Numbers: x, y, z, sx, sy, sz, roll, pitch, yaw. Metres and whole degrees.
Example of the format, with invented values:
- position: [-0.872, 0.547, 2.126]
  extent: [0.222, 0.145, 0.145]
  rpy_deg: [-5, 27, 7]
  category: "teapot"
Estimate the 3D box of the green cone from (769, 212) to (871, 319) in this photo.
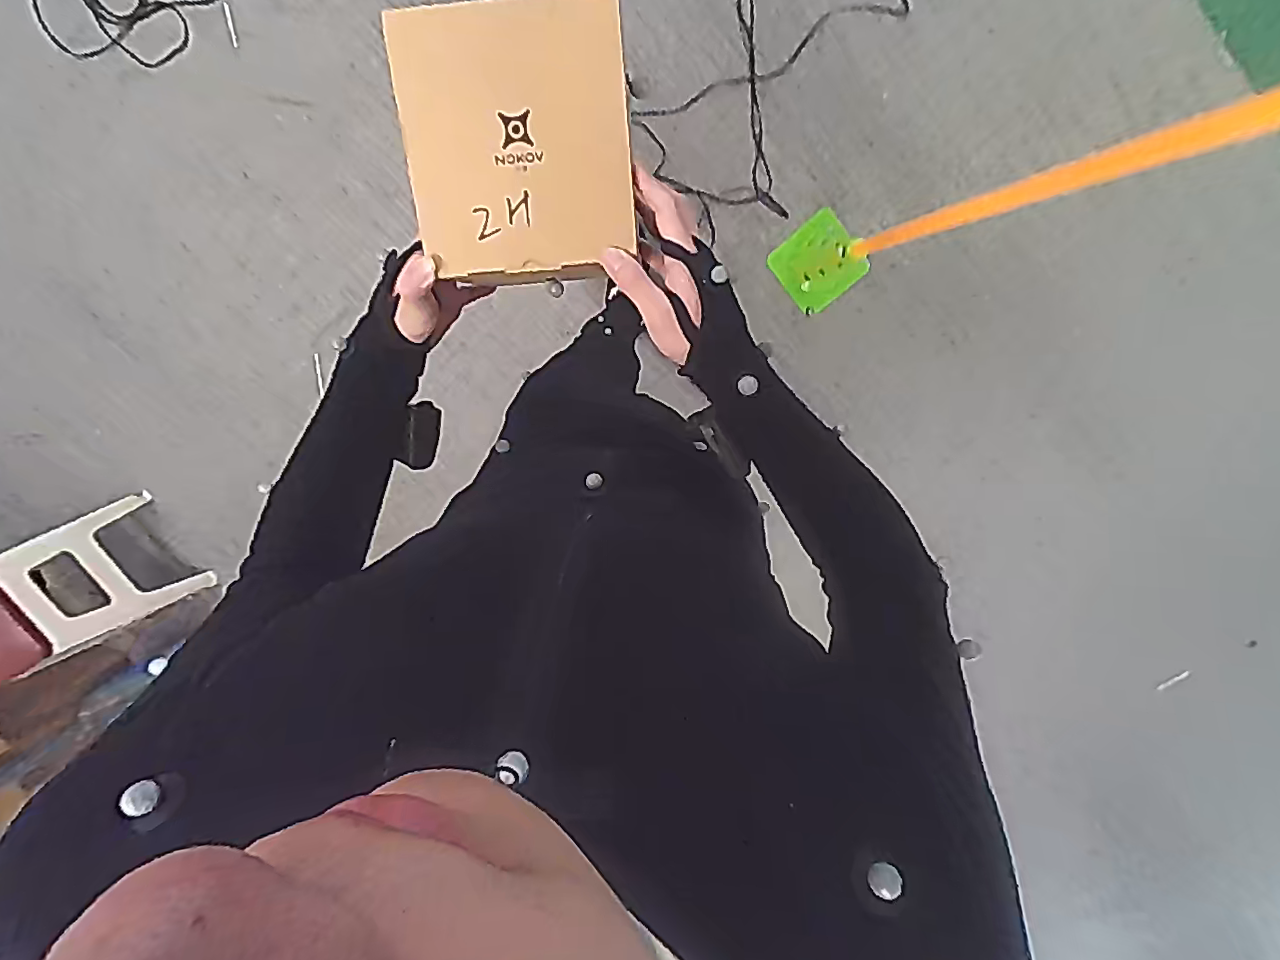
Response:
- position: [0.448, -0.502, 1.225]
  extent: [0.200, 0.368, 0.202]
  rpy_deg: [-40, 99, 13]
  category: "green cone"
